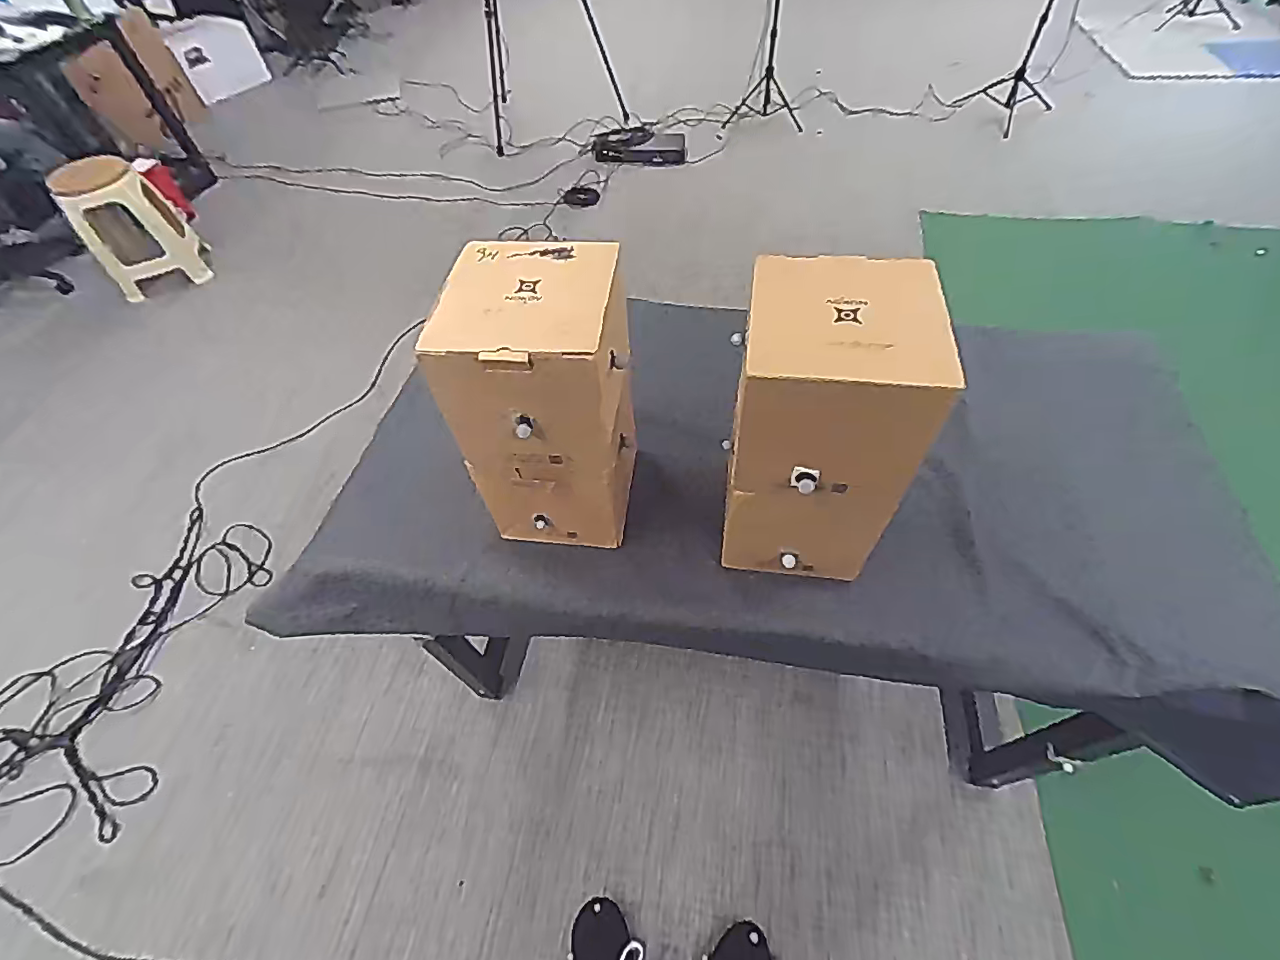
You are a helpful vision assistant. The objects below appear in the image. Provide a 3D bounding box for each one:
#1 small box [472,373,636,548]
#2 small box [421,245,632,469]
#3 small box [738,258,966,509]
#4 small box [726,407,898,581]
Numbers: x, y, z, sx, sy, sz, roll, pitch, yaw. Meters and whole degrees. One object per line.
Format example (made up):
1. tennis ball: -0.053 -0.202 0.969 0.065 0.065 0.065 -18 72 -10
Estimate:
1. small box: -0.097 -0.033 0.715 0.168 0.176 0.179 4 54 6
2. small box: -0.101 -0.128 0.581 0.168 0.176 0.179 3 55 6
3. small box: 0.188 -0.095 0.535 0.168 0.176 0.179 5 54 9
4. small box: 0.196 0.002 0.666 0.168 0.176 0.179 5 54 8
